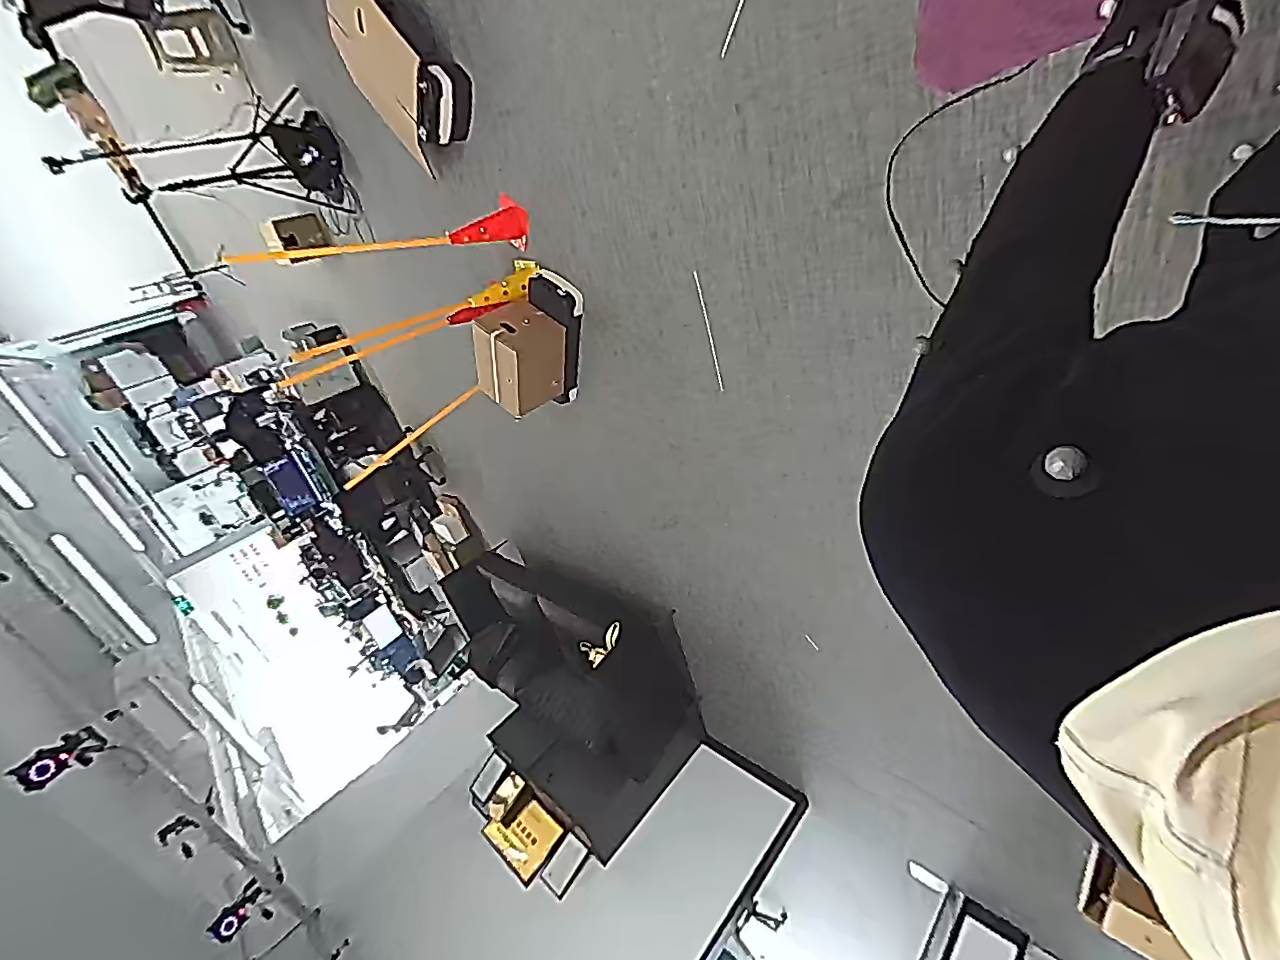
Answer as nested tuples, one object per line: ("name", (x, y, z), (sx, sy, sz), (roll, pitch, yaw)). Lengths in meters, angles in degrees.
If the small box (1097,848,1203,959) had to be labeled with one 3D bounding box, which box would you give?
("small box", (1.320, 1.115, 1.400), (0.168, 0.176, 0.179), (16, 130, 44))
